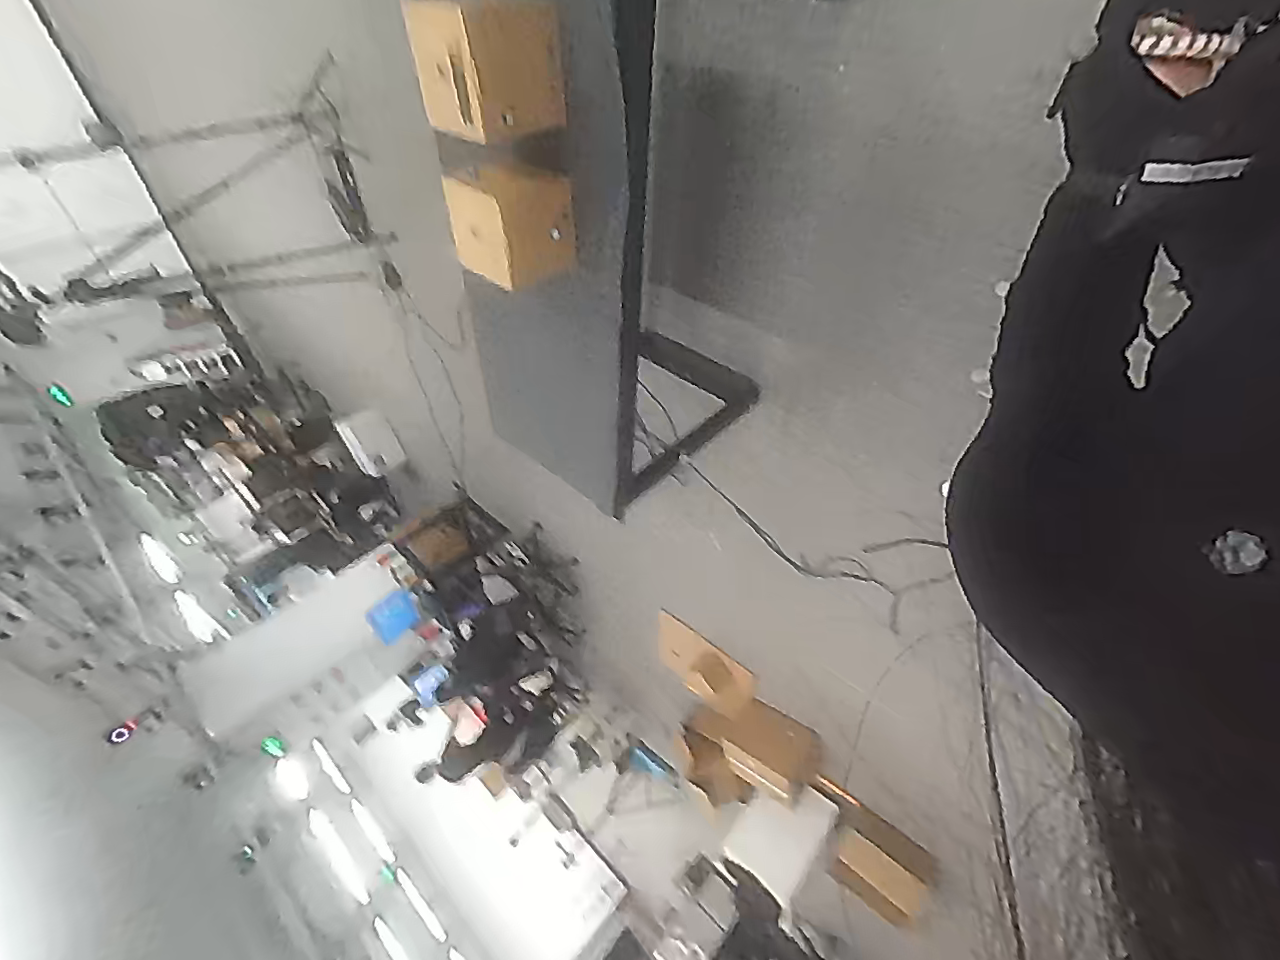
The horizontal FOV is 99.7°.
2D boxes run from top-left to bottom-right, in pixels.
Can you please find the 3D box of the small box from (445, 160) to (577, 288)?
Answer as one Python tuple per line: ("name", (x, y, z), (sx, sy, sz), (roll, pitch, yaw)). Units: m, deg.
("small box", (-0.243, -0.502, 1.049), (0.179, 0.176, 0.168), (34, 144, 27))
